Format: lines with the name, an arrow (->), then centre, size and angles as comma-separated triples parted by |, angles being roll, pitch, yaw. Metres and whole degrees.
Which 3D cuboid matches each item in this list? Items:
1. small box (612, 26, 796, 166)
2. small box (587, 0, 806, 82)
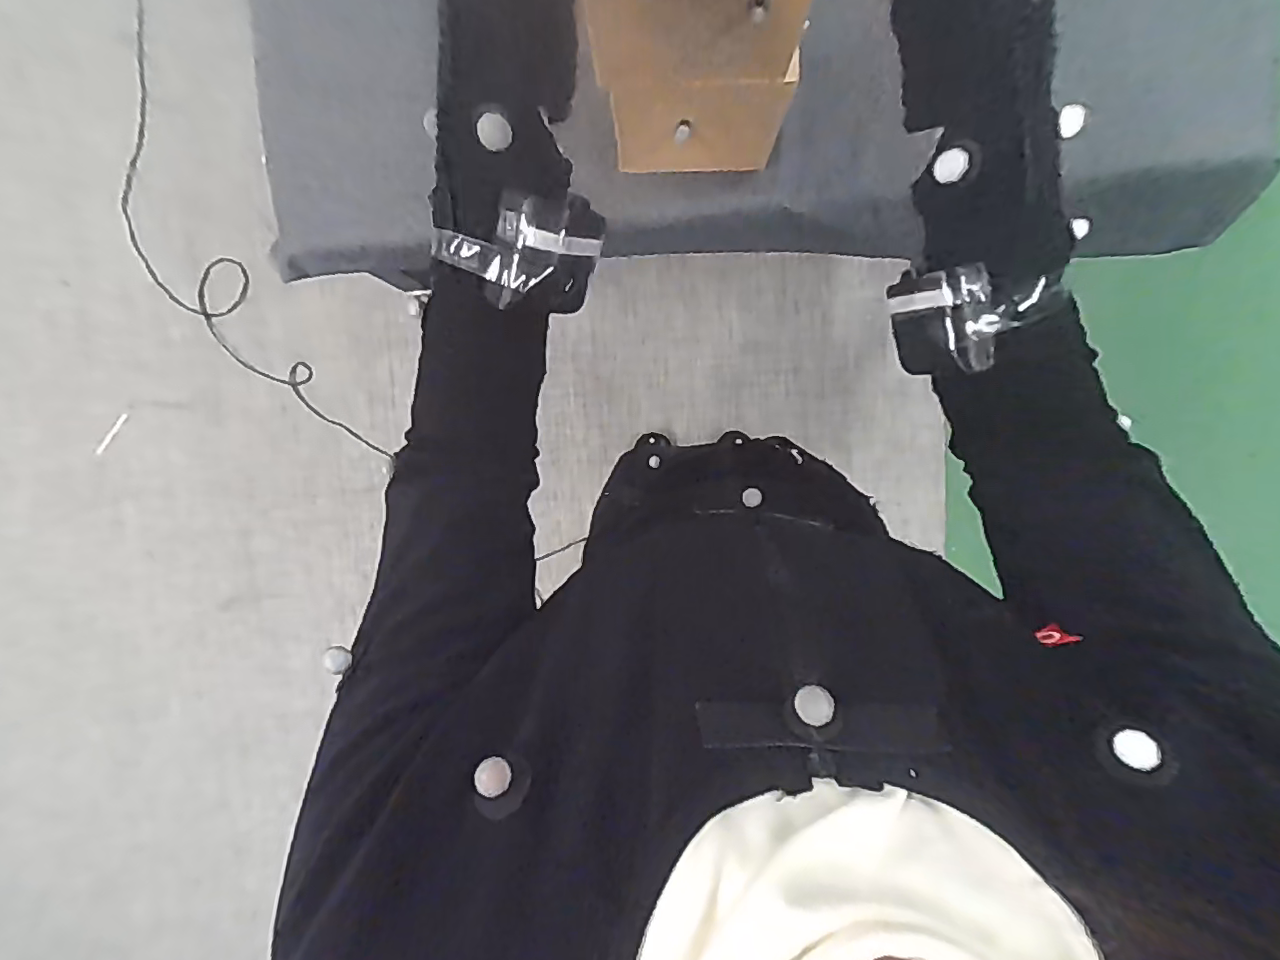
small box -> 0.062, -0.460, 0.579 | 0.179, 0.176, 0.168 | 0, 95, 2
small box -> 0.045, -0.448, 0.418 | 0.179, 0.176, 0.168 | -2, 93, 3
